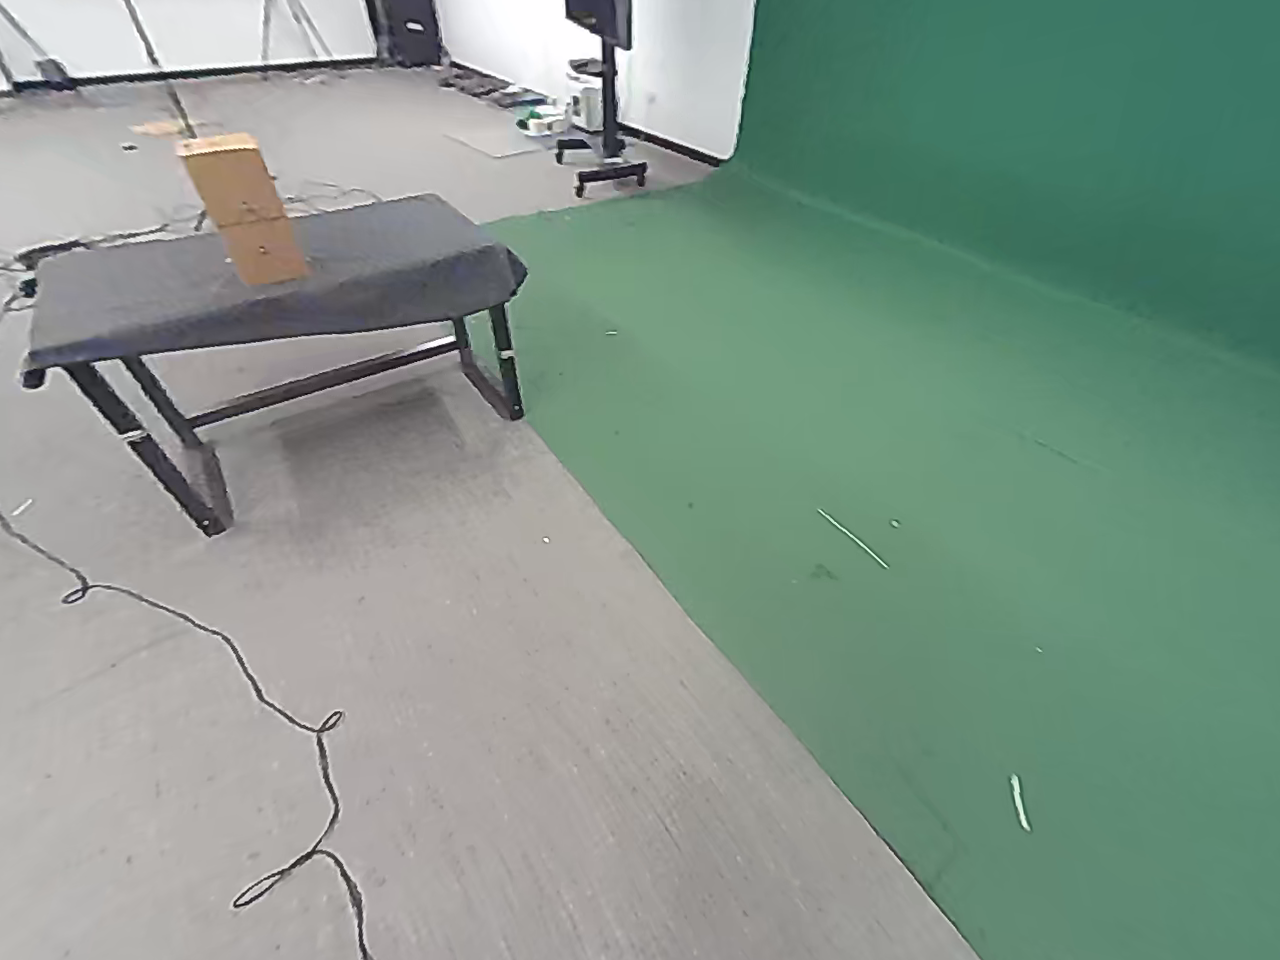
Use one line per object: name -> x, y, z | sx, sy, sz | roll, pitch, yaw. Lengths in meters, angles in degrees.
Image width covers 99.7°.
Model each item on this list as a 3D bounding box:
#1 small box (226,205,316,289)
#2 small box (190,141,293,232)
small box -> -1.066, -0.677, 1.570 | 0.179, 0.176, 0.168 | -23, 47, -22
small box -> -1.064, -0.789, 1.455 | 0.179, 0.176, 0.168 | -24, 49, -24
